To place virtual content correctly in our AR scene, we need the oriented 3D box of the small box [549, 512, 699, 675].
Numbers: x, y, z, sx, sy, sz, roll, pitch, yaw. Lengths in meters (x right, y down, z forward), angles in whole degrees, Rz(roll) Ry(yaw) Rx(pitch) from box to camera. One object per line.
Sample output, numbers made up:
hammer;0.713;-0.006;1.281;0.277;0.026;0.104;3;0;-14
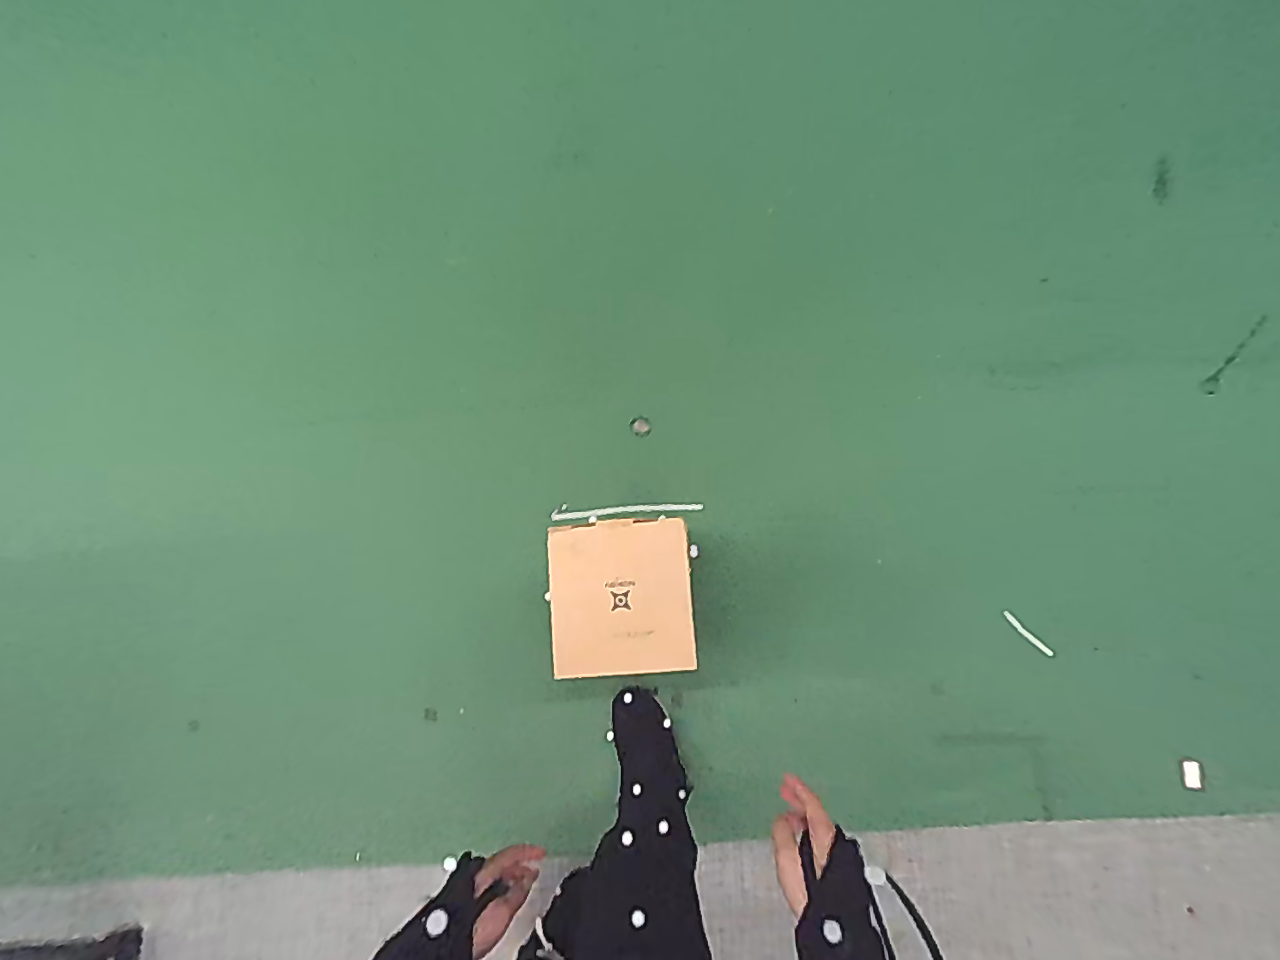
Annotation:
small box;-0.016;0.141;0.699;0.168;0.176;0.179;-6;82;3
